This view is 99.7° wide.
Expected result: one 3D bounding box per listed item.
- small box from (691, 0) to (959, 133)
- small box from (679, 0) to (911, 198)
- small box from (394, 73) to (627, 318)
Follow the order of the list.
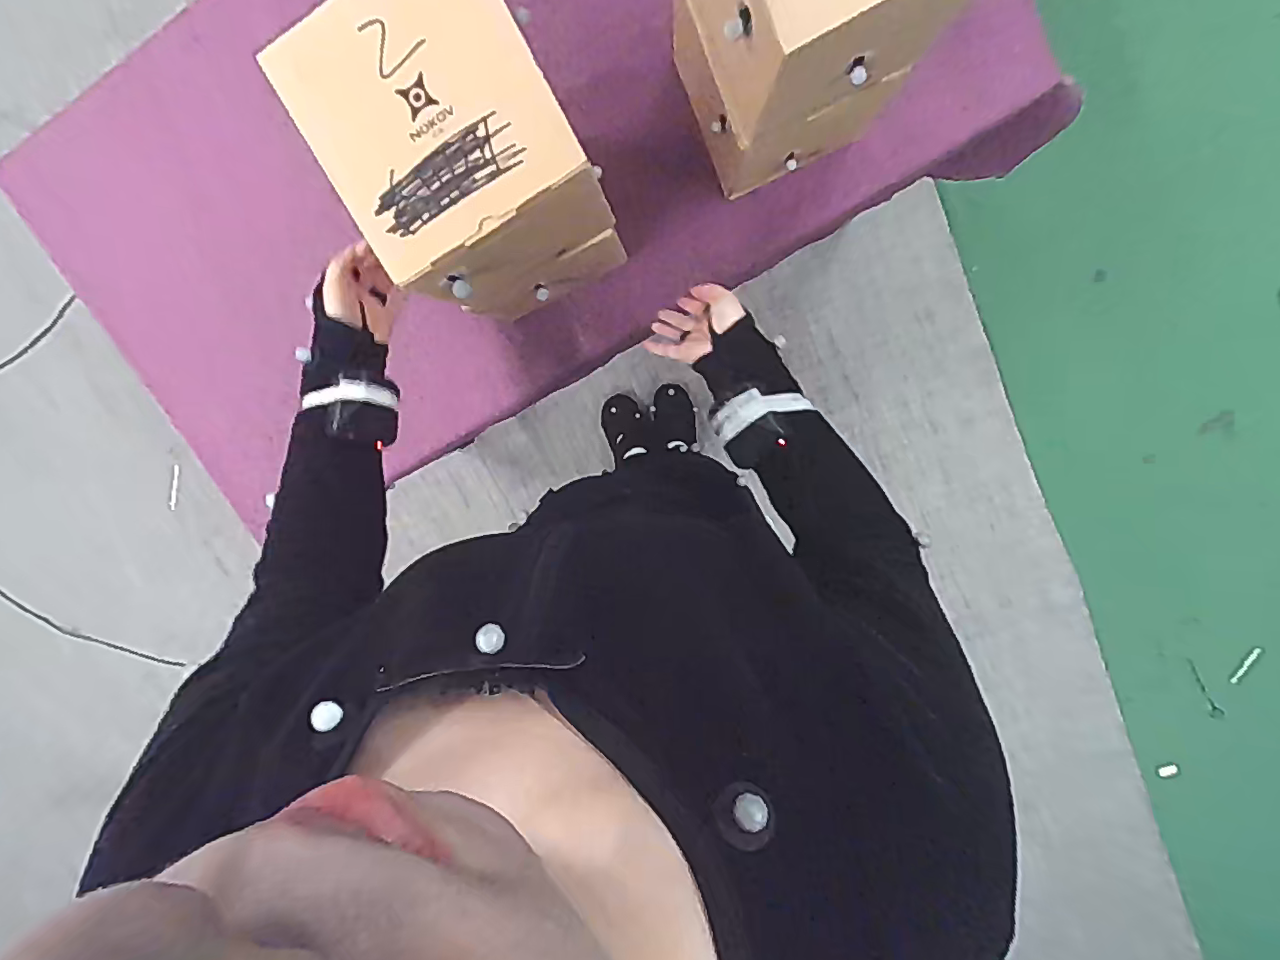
[{"bbox_3d":[0.137,-0.401,0.408,0.168,0.176,0.179,-24,100,8],"label":"small box"},{"bbox_3d":[0.145,-0.436,0.568,0.168,0.176,0.179,-23,101,8],"label":"small box"},{"bbox_3d":[-0.130,-0.298,0.615,0.179,0.176,0.168,-24,100,9],"label":"small box"}]
